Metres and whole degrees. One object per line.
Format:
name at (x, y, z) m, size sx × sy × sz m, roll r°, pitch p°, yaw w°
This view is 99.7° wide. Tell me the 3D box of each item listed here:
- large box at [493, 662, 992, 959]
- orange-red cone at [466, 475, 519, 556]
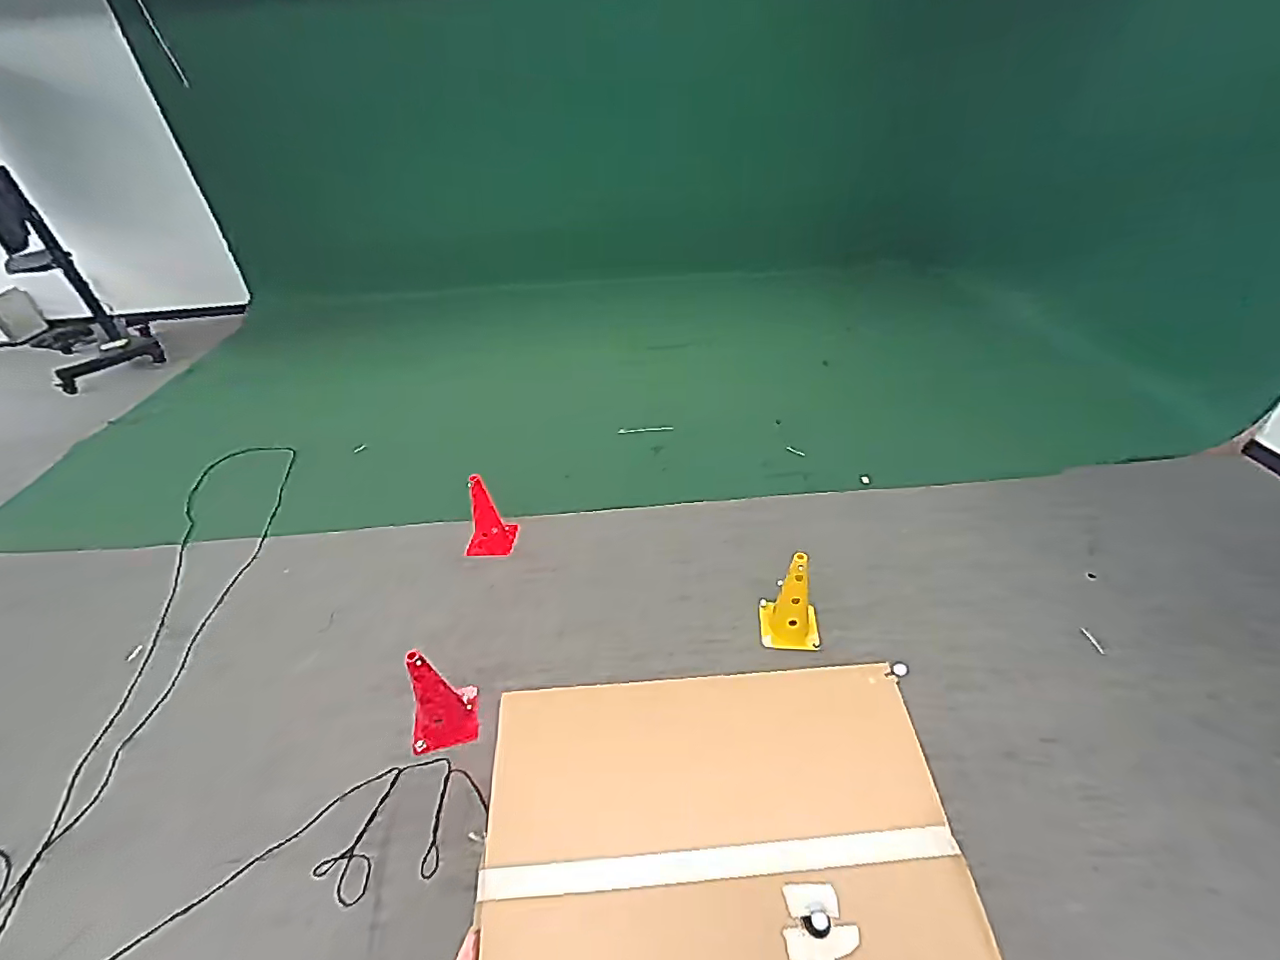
large box at (0.074, 0.421, 0.587) m, size 0.408 × 0.320 × 0.320 m, roll -4°, pitch 52°, yaw -3°
orange-red cone at (-0.667, 0.131, 2.300) m, size 0.199 × 0.360 × 0.198 m, roll -1°, pitch 37°, yaw 6°
